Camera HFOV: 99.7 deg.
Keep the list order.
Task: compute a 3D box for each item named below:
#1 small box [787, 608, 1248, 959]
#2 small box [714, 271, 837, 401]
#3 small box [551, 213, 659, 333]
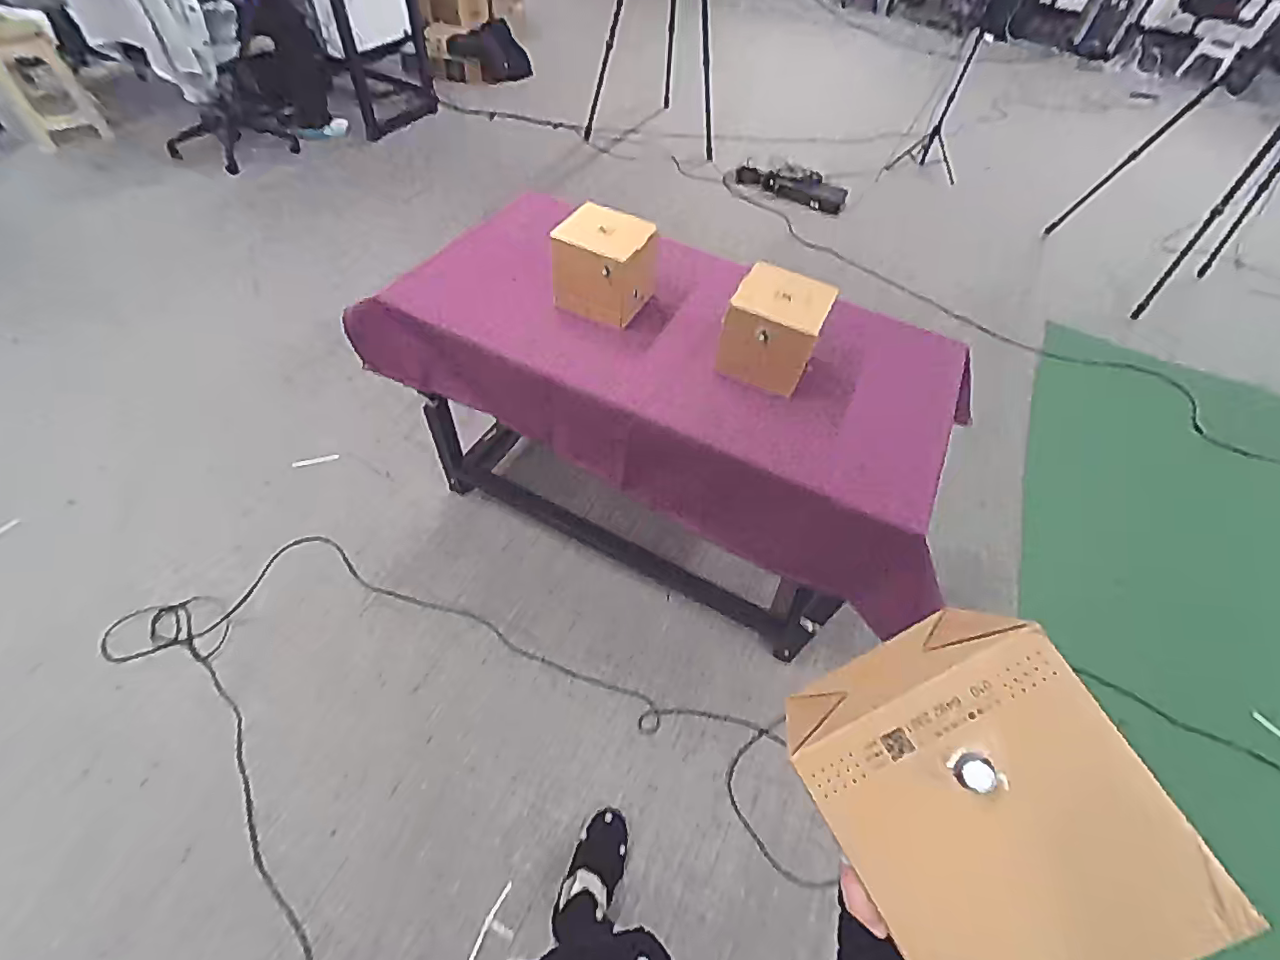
[{"bbox_3d":[0.218,0.201,0.380,0.168,0.179,0.176,-33,72,7],"label":"small box"},{"bbox_3d":[0.267,-0.288,1.095,0.179,0.176,0.168,25,55,13],"label":"small box"},{"bbox_3d":[-0.078,-0.450,1.186,0.179,0.176,0.168,24,54,11],"label":"small box"}]
